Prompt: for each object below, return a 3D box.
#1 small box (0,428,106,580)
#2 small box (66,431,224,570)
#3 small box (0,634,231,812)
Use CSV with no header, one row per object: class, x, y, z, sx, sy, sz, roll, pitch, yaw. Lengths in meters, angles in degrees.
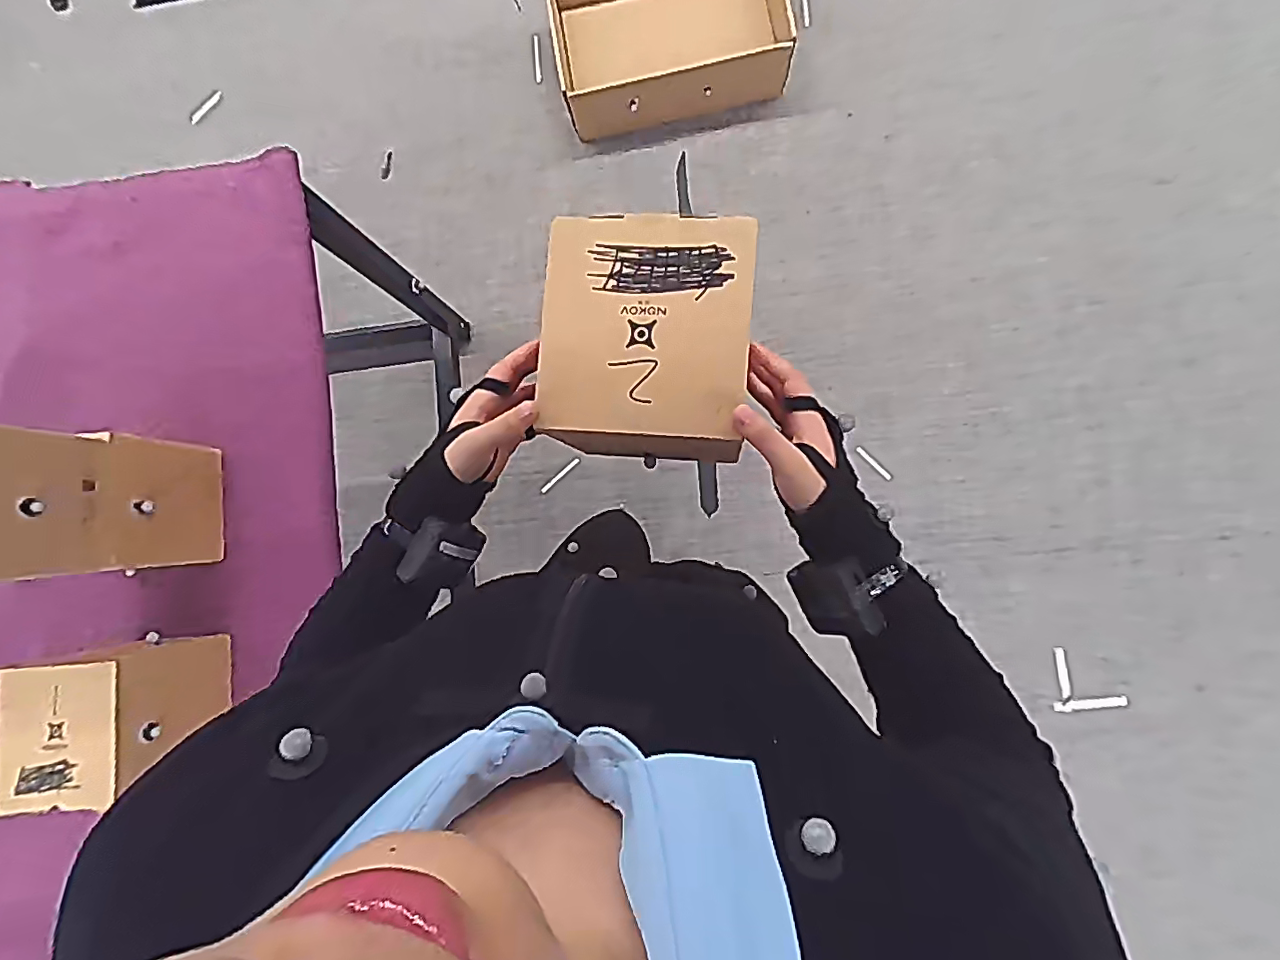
small box,-0.753,0.030,0.600,0.179,0.176,0.168,-5,85,5
small box,-0.730,0.035,0.763,0.168,0.176,0.179,-5,86,5
small box,-0.698,0.318,0.736,0.168,0.176,0.179,-5,84,5
